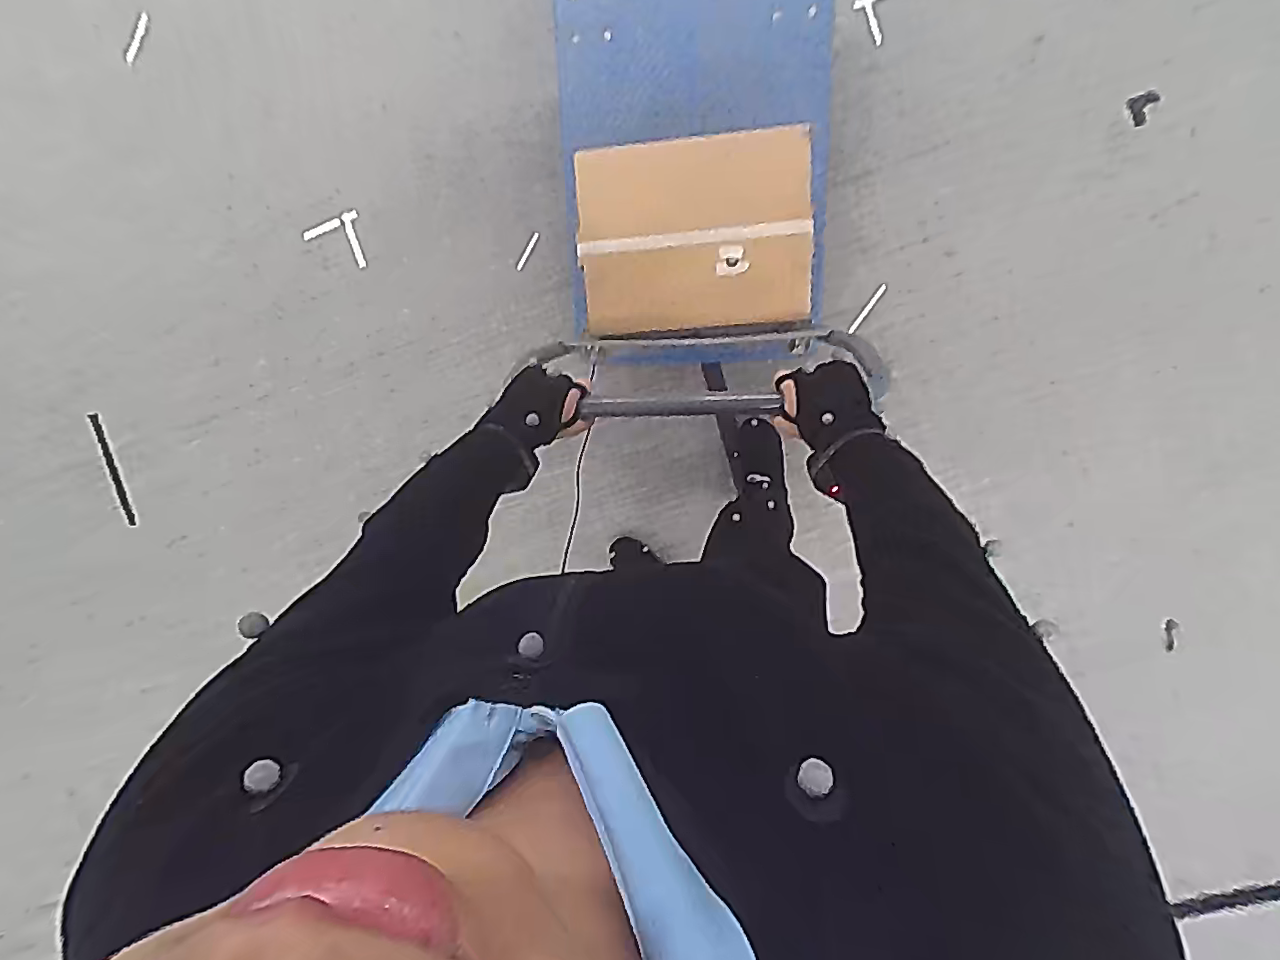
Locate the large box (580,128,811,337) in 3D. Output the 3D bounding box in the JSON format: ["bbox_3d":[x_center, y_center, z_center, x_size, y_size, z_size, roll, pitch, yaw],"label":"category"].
[{"bbox_3d":[0.116,-0.470,1.111,0.408,0.320,0.320,-2,106,7],"label":"large box"}]
